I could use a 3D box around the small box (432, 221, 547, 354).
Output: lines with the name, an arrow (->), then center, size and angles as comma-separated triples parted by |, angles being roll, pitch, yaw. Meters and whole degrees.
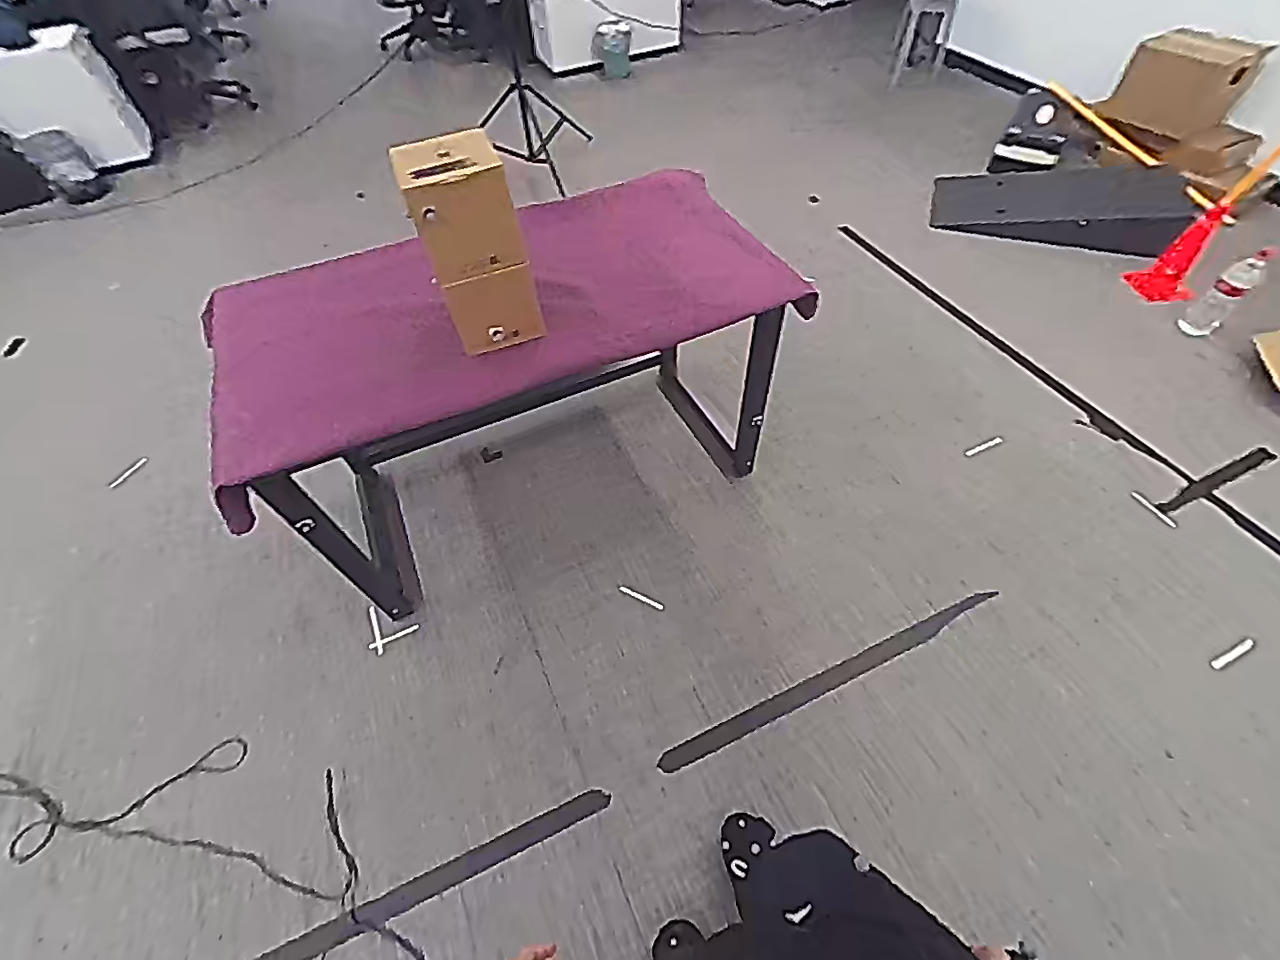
small box -> -0.299, -0.386, 1.090 | 0.168, 0.176, 0.179 | -20, 56, -10
